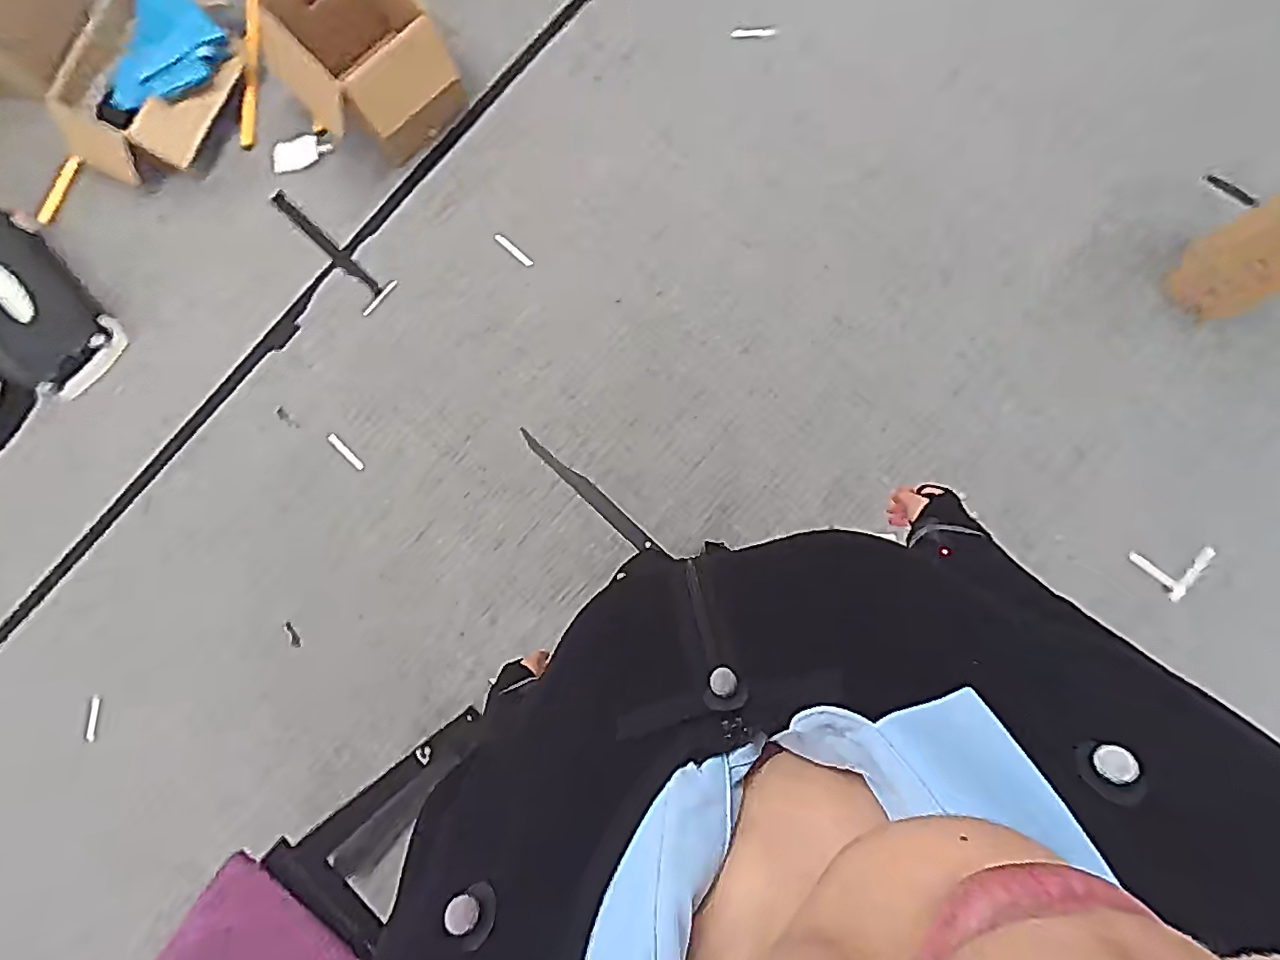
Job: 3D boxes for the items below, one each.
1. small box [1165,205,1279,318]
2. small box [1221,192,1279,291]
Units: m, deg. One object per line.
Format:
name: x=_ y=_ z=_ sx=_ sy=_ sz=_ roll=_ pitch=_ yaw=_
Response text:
small box: x=1.528 y=-0.552 z=1.394 sx=0.168 sy=0.176 sz=0.179 roll=37 pitch=87 yaw=8
small box: x=1.514 y=-0.572 z=1.233 sx=0.168 sy=0.176 sz=0.179 roll=39 pitch=89 yaw=9
